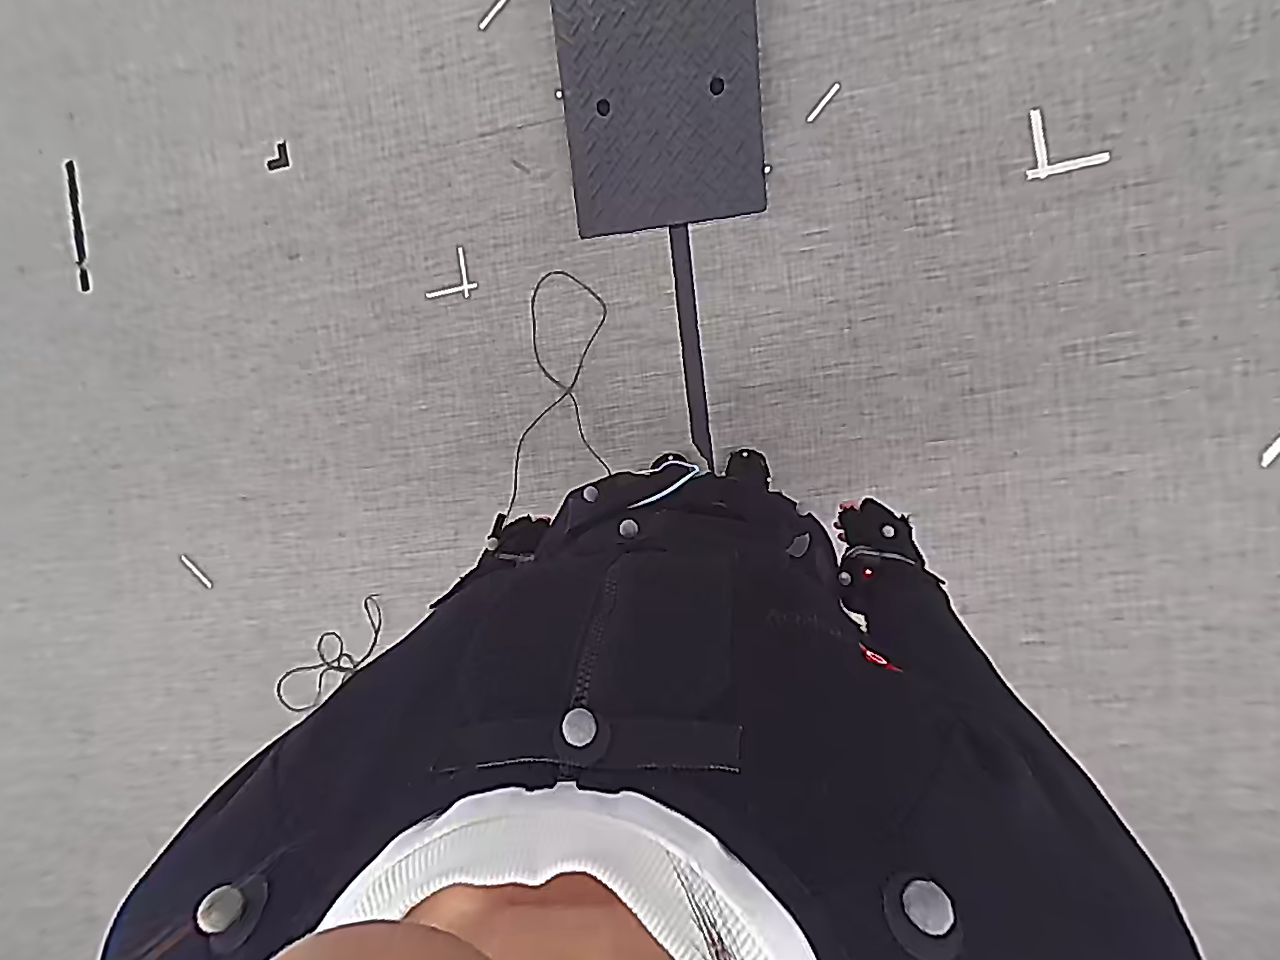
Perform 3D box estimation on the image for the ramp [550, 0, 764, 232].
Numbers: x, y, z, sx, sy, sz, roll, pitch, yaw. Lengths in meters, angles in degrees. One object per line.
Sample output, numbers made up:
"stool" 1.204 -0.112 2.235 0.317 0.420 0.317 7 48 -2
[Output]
"ramp" 0.024 -1.160 1.293 0.509 0.206 0.991 -6 93 8
